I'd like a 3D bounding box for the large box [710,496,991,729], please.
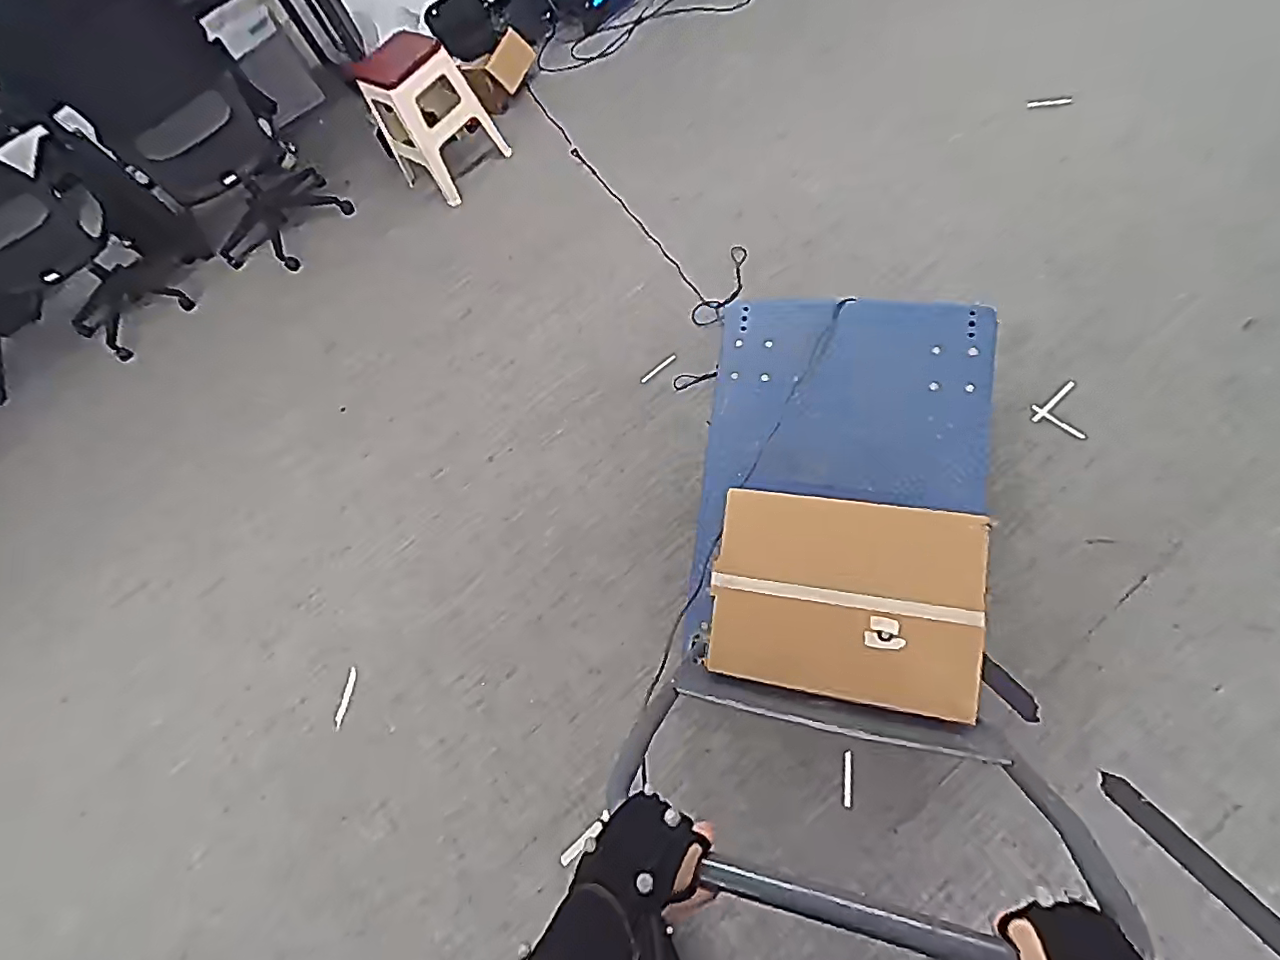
[{"bbox_3d":[0.360,0.218,1.002,0.408,0.320,0.320,7,85,15],"label":"large box"}]
